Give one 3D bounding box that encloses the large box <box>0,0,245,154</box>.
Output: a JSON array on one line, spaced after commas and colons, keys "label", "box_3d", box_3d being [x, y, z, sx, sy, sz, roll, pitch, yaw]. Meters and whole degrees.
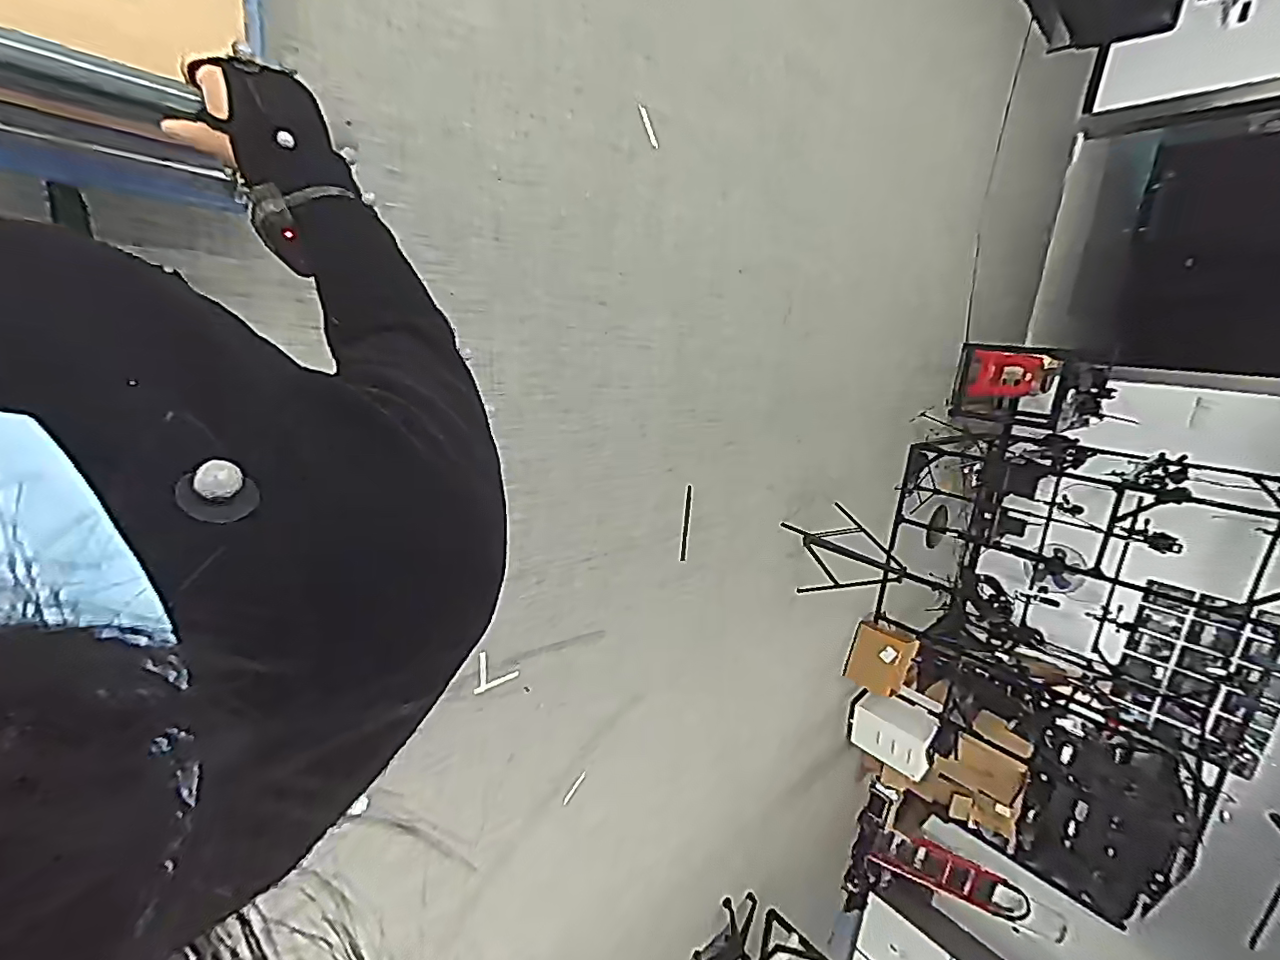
[{"label": "large box", "box_3d": [-0.795, -0.670, 0.694, 0.408, 0.320, 0.320, -8, 110, -44]}]
